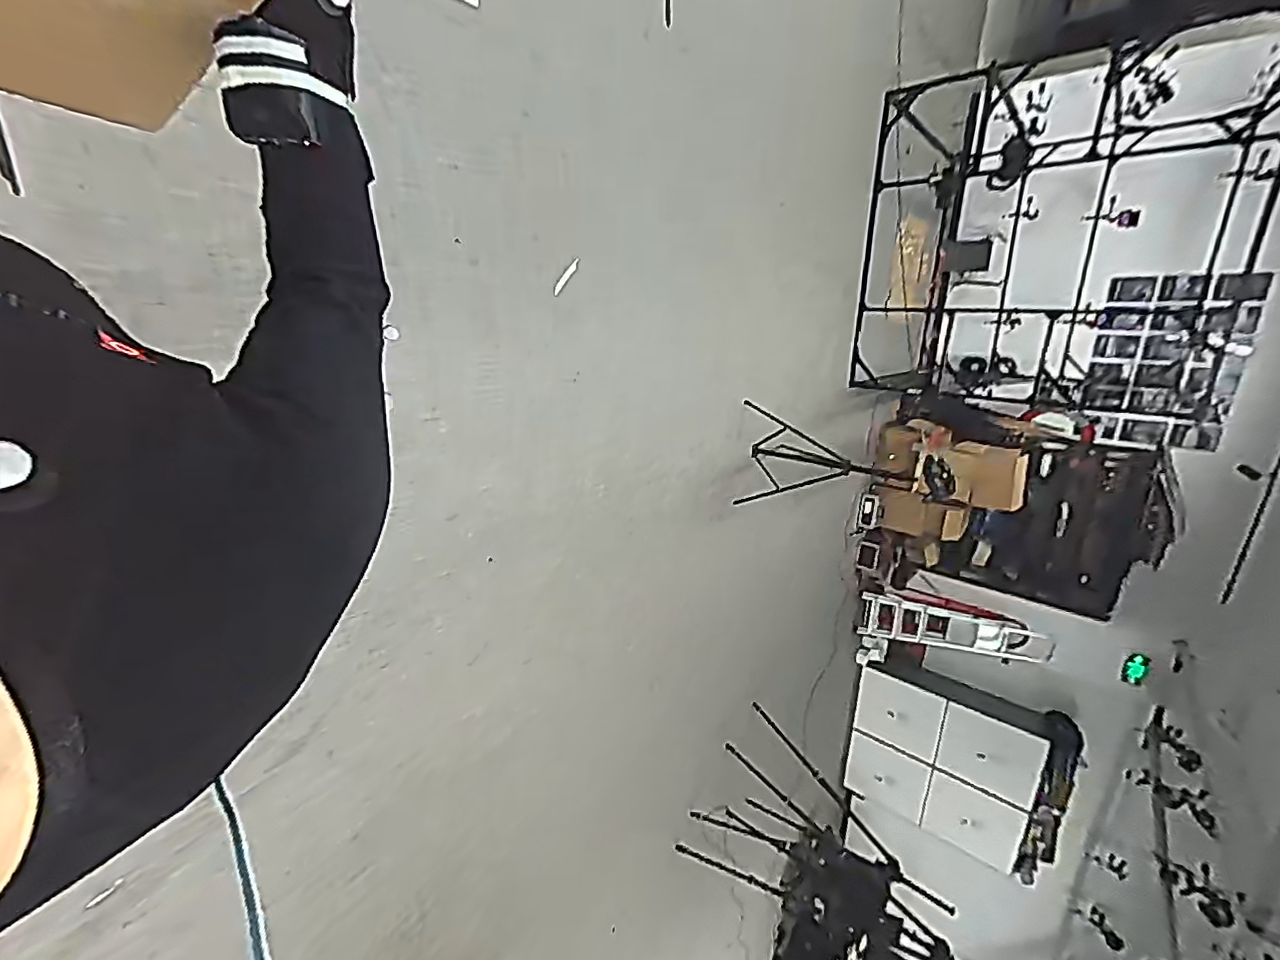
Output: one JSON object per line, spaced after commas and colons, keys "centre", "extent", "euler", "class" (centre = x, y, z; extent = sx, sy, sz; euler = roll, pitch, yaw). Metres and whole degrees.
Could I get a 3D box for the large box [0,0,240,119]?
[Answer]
{"centre": [-0.485, -0.452, 0.260], "extent": [0.408, 0.320, 0.320], "euler": [-12, 107, -50], "class": "large box"}
